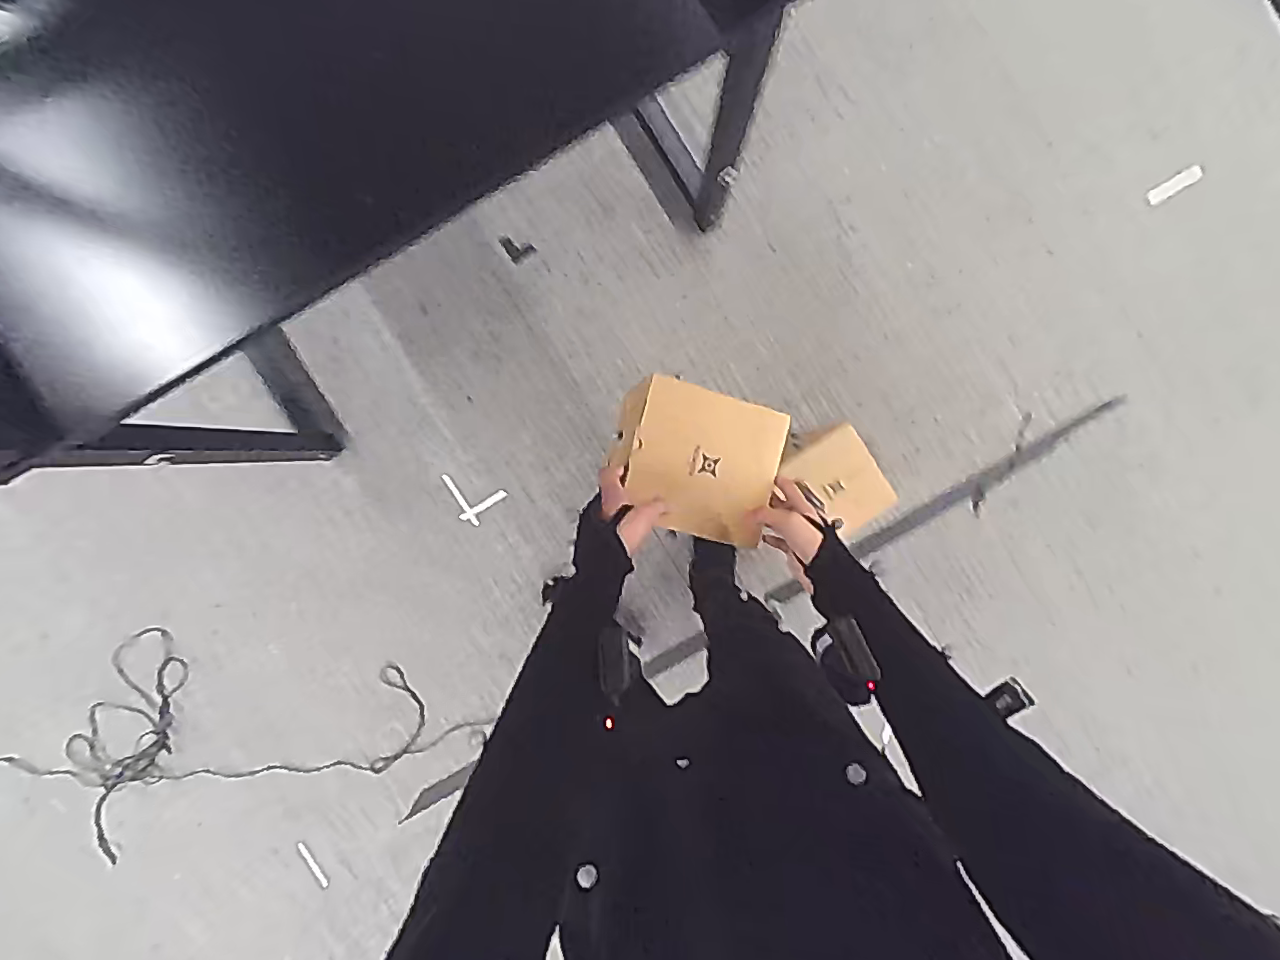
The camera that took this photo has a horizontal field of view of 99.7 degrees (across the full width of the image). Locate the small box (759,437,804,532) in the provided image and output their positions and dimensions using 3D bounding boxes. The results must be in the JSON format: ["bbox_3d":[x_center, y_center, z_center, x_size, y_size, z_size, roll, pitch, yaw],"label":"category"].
[{"bbox_3d":[0.340,0.005,1.332,0.179,0.176,0.168,-31,92,2],"label":"small box"}]

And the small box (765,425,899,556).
[{"bbox_3d":[0.330,0.016,1.004,0.179,0.176,0.168,-33,93,1],"label":"small box"}]

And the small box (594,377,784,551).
[{"bbox_3d":[0.051,-0.018,0.684,0.179,0.176,0.168,14,88,-11],"label":"small box"}]
